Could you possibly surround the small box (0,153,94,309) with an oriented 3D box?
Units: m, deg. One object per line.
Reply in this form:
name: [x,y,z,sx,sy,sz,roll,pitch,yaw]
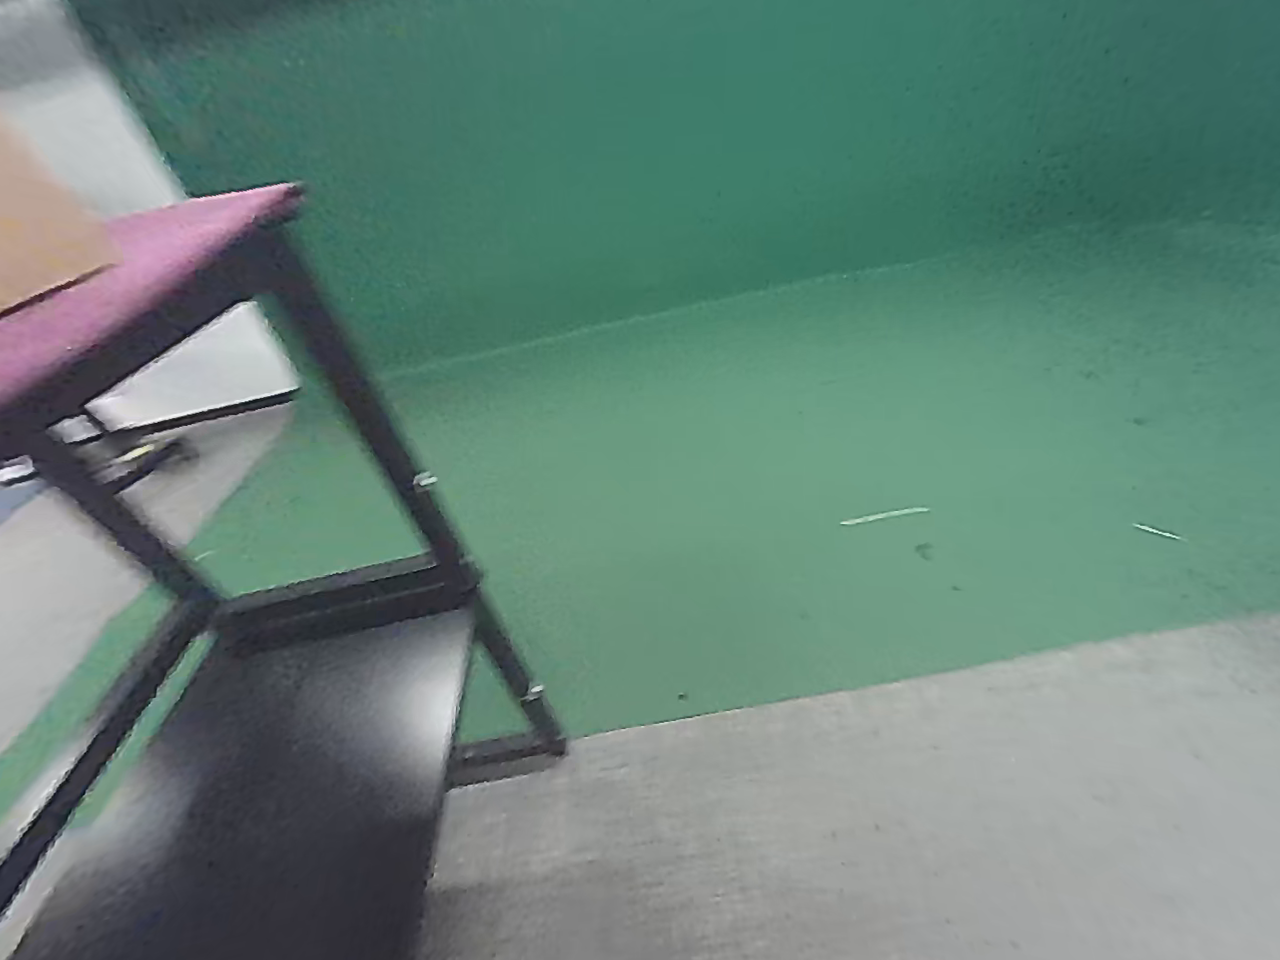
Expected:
small box: [-0.629,-0.210,0.438,0.168,0.176,0.179,-13,37,5]
